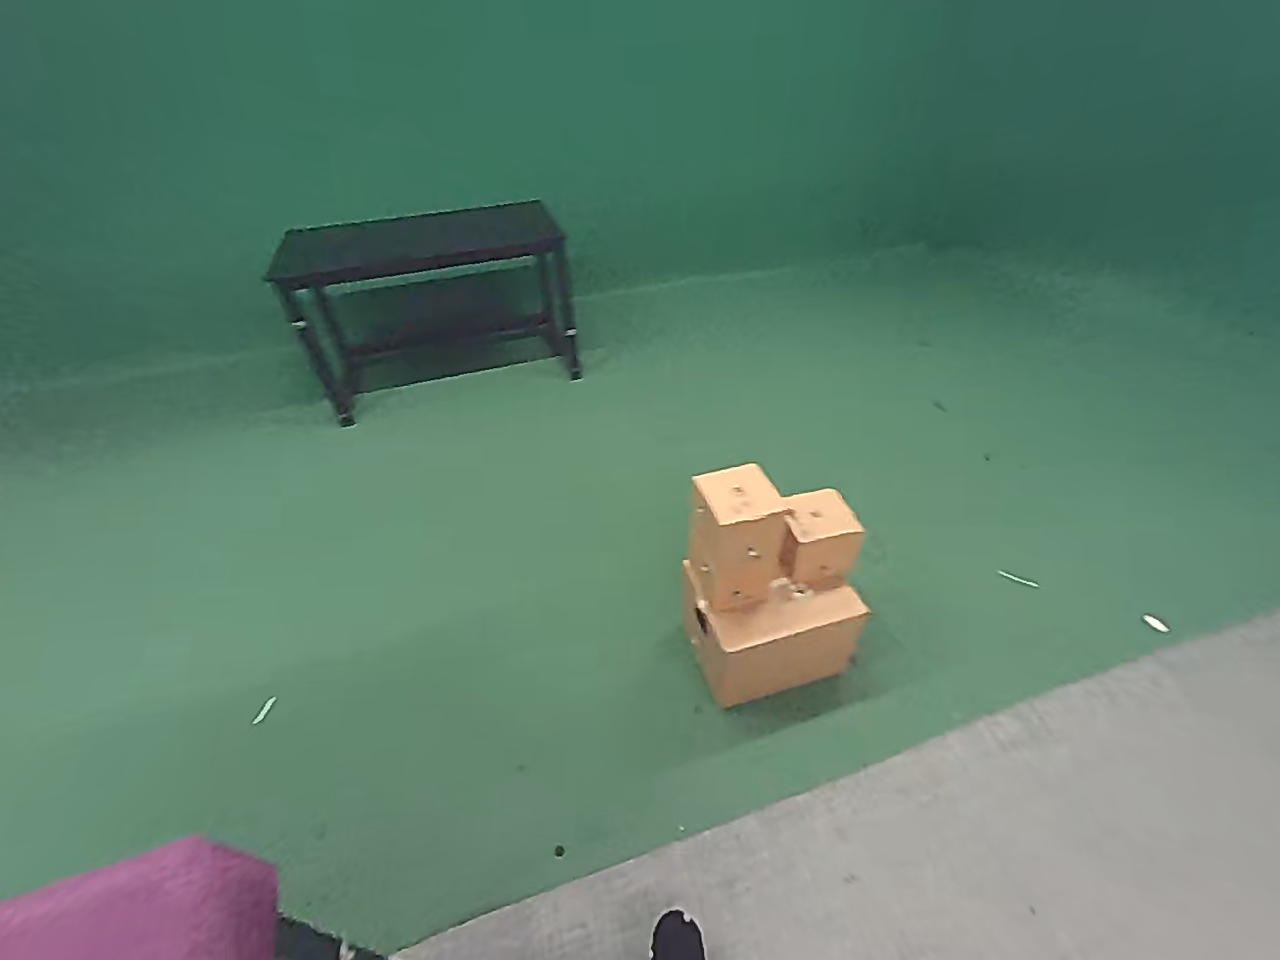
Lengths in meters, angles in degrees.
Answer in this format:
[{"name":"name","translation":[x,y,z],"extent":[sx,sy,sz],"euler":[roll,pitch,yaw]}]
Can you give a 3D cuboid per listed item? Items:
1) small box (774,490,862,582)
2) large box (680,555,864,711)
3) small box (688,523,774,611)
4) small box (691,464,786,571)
[{"name":"small box","translation":[0.466,0.154,1.468],"extent":[0.179,0.176,0.168],"euler":[-10,41,-7]},{"name":"large box","translation":[0.354,0.403,1.562],"extent":[0.408,0.320,0.320],"euler":[-12,43,-12]},{"name":"small box","translation":[0.230,0.213,1.418],"extent":[0.168,0.176,0.179],"euler":[-12,42,-11]},{"name":"small box","translation":[0.228,0.090,1.308],"extent":[0.168,0.176,0.179],"euler":[-13,43,-12]}]
